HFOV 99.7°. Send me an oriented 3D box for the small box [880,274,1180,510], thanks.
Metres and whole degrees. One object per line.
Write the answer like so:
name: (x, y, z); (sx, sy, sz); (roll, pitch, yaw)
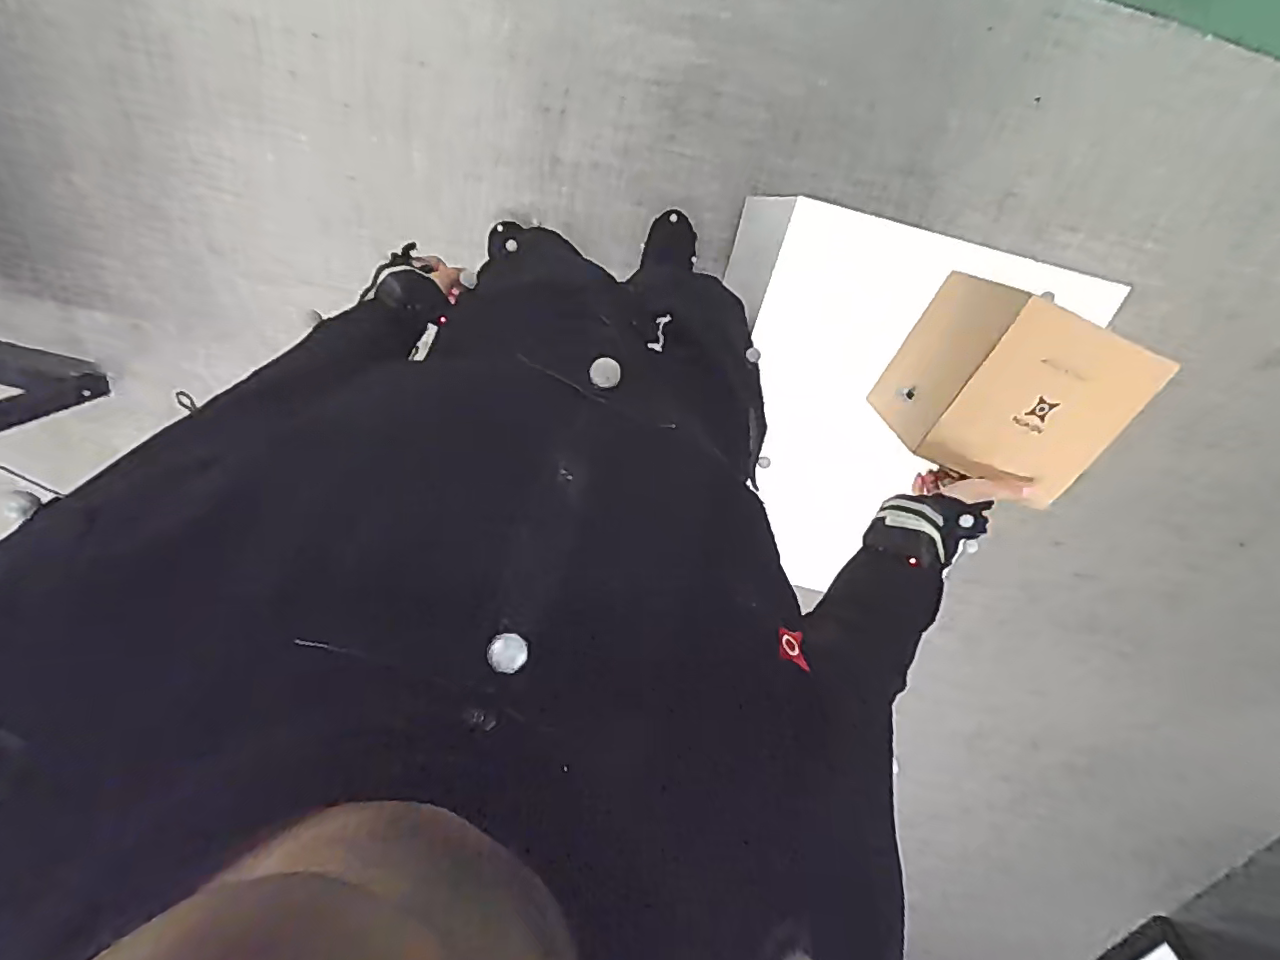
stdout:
small box: (0.392, -0.103, 0.591); (0.168, 0.176, 0.179); (22, 116, -8)
